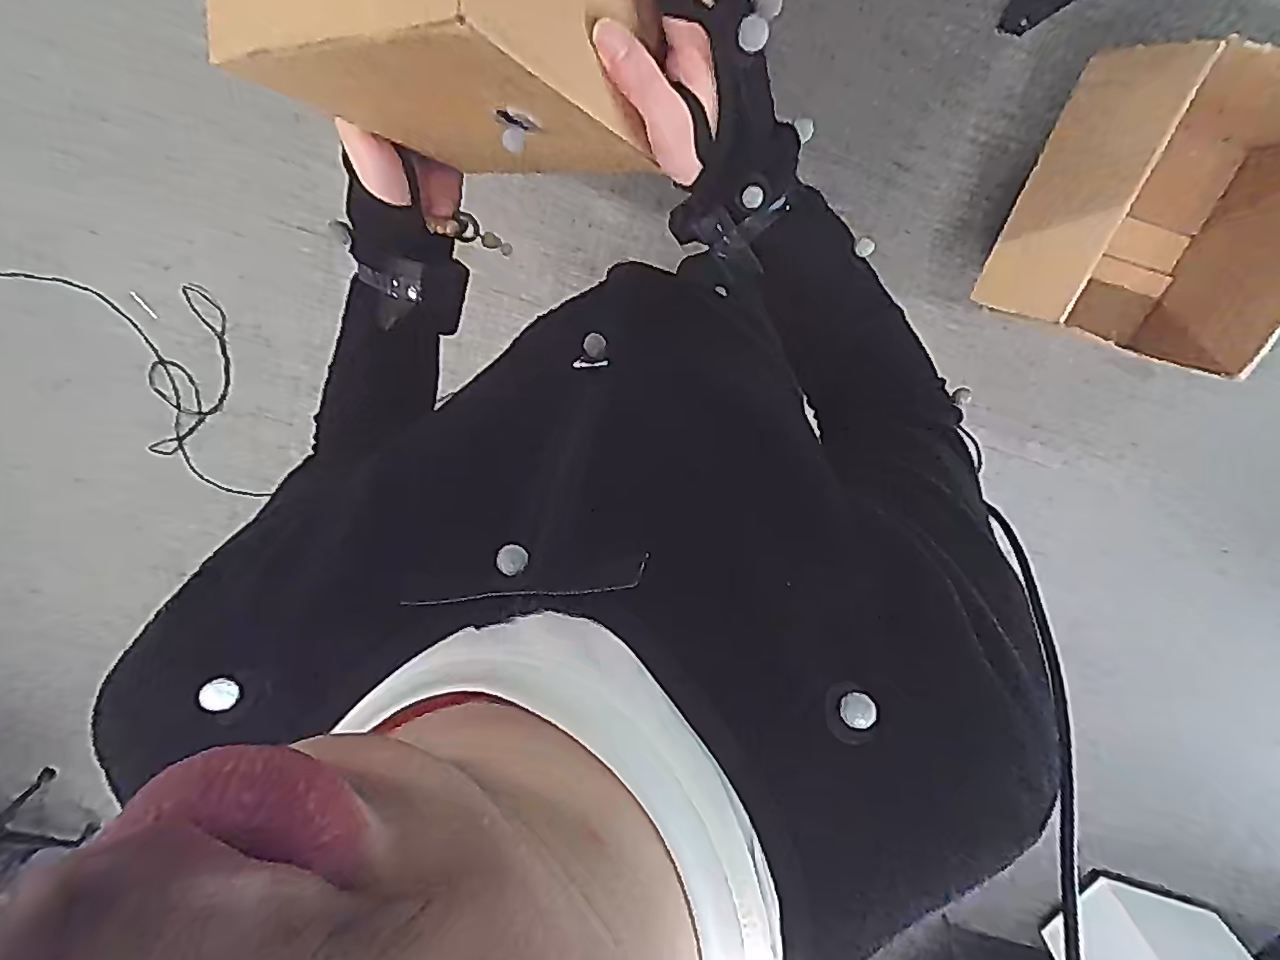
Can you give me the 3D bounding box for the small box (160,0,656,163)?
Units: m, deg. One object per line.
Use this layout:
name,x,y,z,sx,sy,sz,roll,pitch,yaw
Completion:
small box,-0.096,-0.272,0.261,0.179,0.176,0.168,15,105,27
